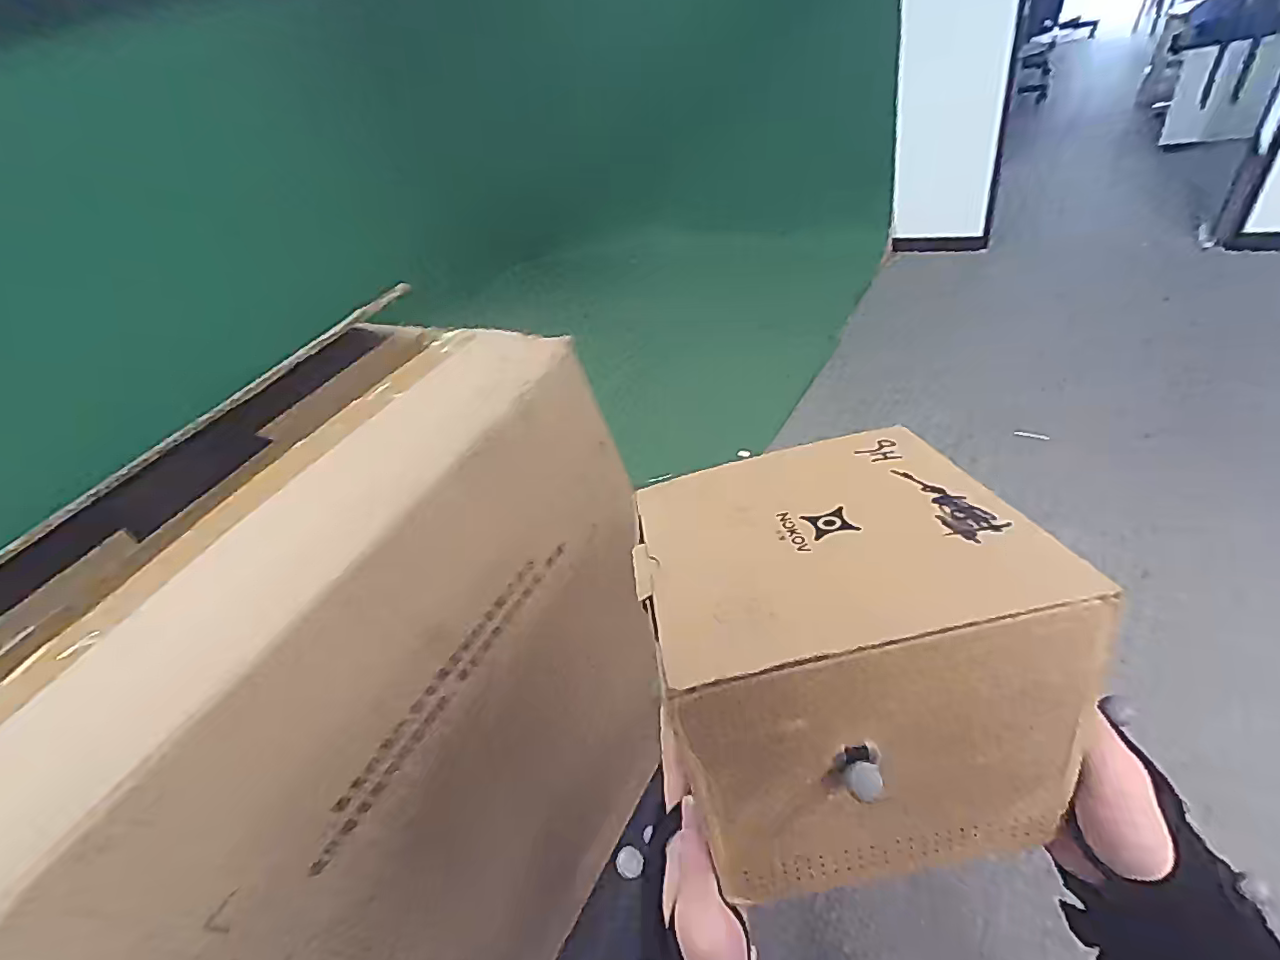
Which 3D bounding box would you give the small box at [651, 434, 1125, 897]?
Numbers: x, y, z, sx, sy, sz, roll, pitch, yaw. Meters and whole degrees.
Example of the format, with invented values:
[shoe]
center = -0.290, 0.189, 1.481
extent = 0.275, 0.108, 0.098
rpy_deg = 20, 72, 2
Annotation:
[small box]
center = 0.115, 0.097, 0.311
extent = 0.179, 0.176, 0.168
rpy_deg = -14, 27, 2
